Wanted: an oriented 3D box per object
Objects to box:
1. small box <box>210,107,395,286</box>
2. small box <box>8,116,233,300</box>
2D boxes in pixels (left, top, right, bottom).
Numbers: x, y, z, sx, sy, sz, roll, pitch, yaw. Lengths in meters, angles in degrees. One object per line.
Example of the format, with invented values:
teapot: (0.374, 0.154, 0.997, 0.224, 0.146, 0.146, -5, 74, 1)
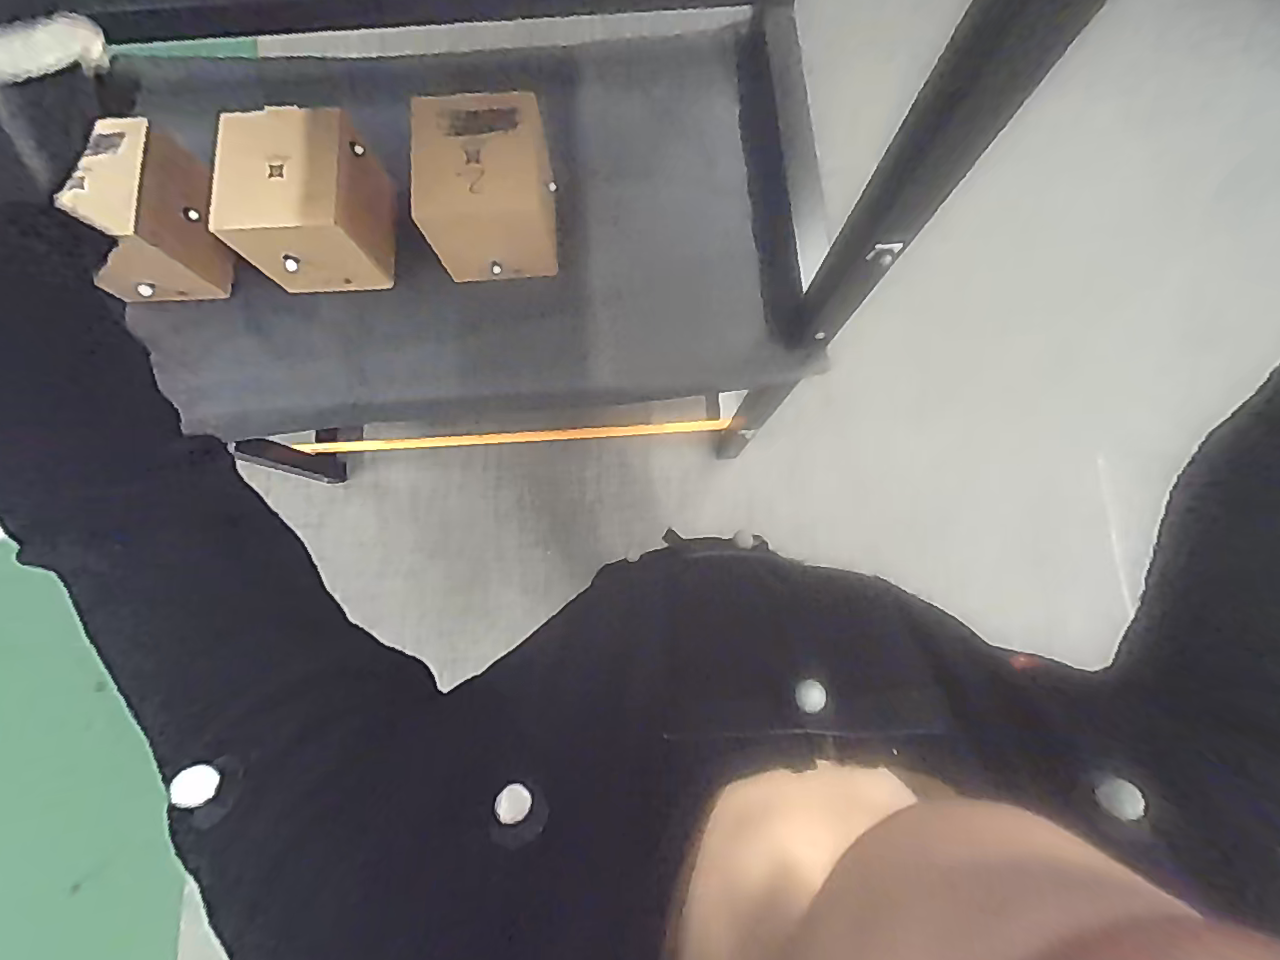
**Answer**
small box: (-0.476, -0.397, 0.787, 0.168, 0.176, 0.179, -3, 80, 0)
small box: (-0.728, -0.384, 0.784, 0.168, 0.176, 0.179, -2, 81, 0)
